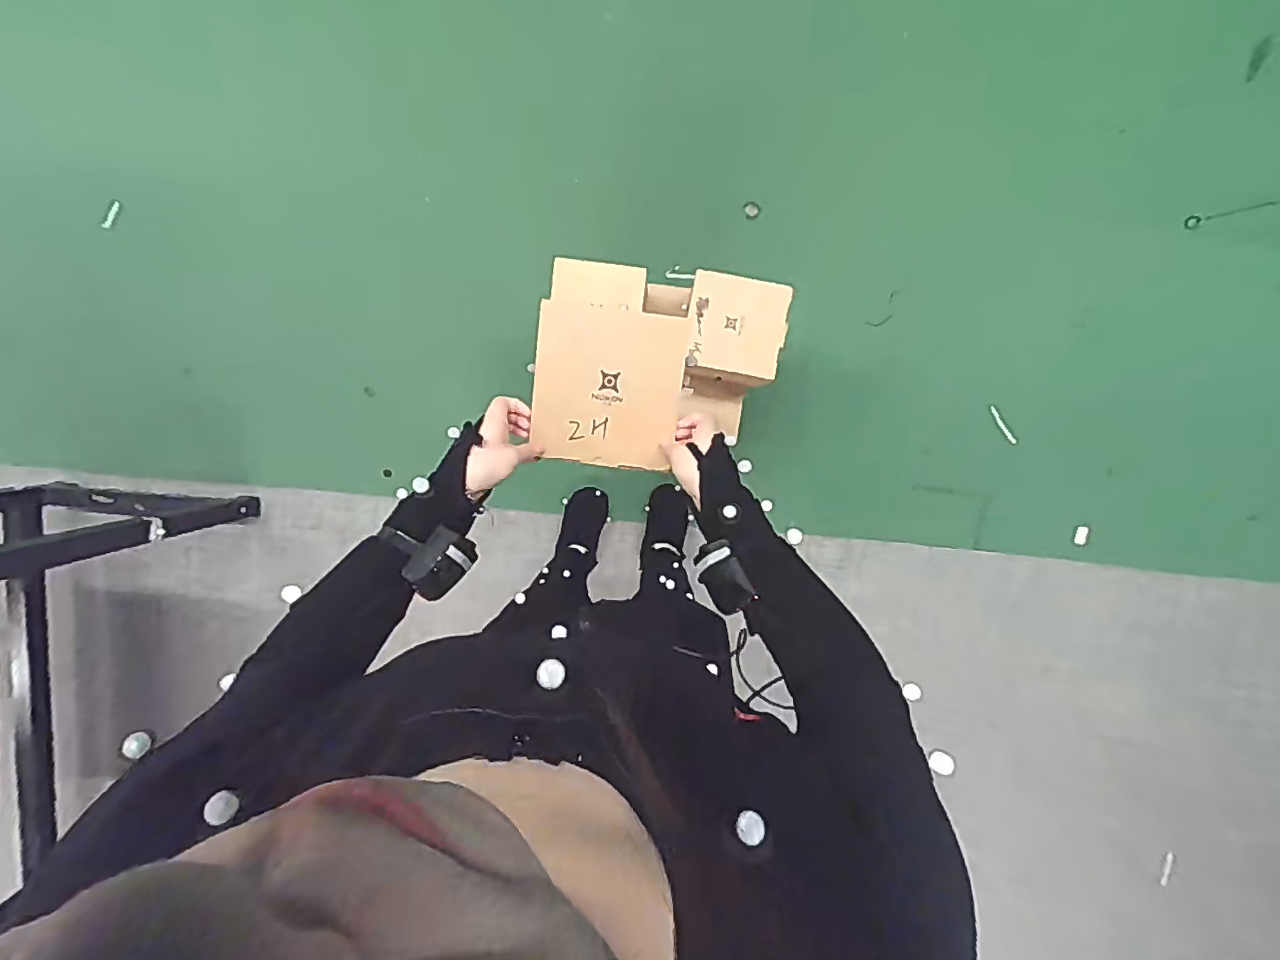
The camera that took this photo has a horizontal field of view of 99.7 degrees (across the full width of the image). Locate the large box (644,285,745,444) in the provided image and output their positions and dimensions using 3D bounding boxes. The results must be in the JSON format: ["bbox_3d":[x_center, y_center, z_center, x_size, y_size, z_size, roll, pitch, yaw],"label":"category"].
[{"bbox_3d":[0.025,-0.261,1.273,0.408,0.320,0.320,6,97,0],"label":"large box"}]

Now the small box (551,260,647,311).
[{"bbox_3d":[-0.080,-0.296,1.027,0.168,0.176,0.179,7,96,0],"label":"small box"}]

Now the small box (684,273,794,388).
[{"bbox_3d":[0.168,-0.272,1.022,0.179,0.176,0.168,12,96,0],"label":"small box"}]

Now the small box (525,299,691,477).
[{"bbox_3d":[-0.038,-0.112,0.666,0.168,0.176,0.179,7,101,-2],"label":"small box"}]
